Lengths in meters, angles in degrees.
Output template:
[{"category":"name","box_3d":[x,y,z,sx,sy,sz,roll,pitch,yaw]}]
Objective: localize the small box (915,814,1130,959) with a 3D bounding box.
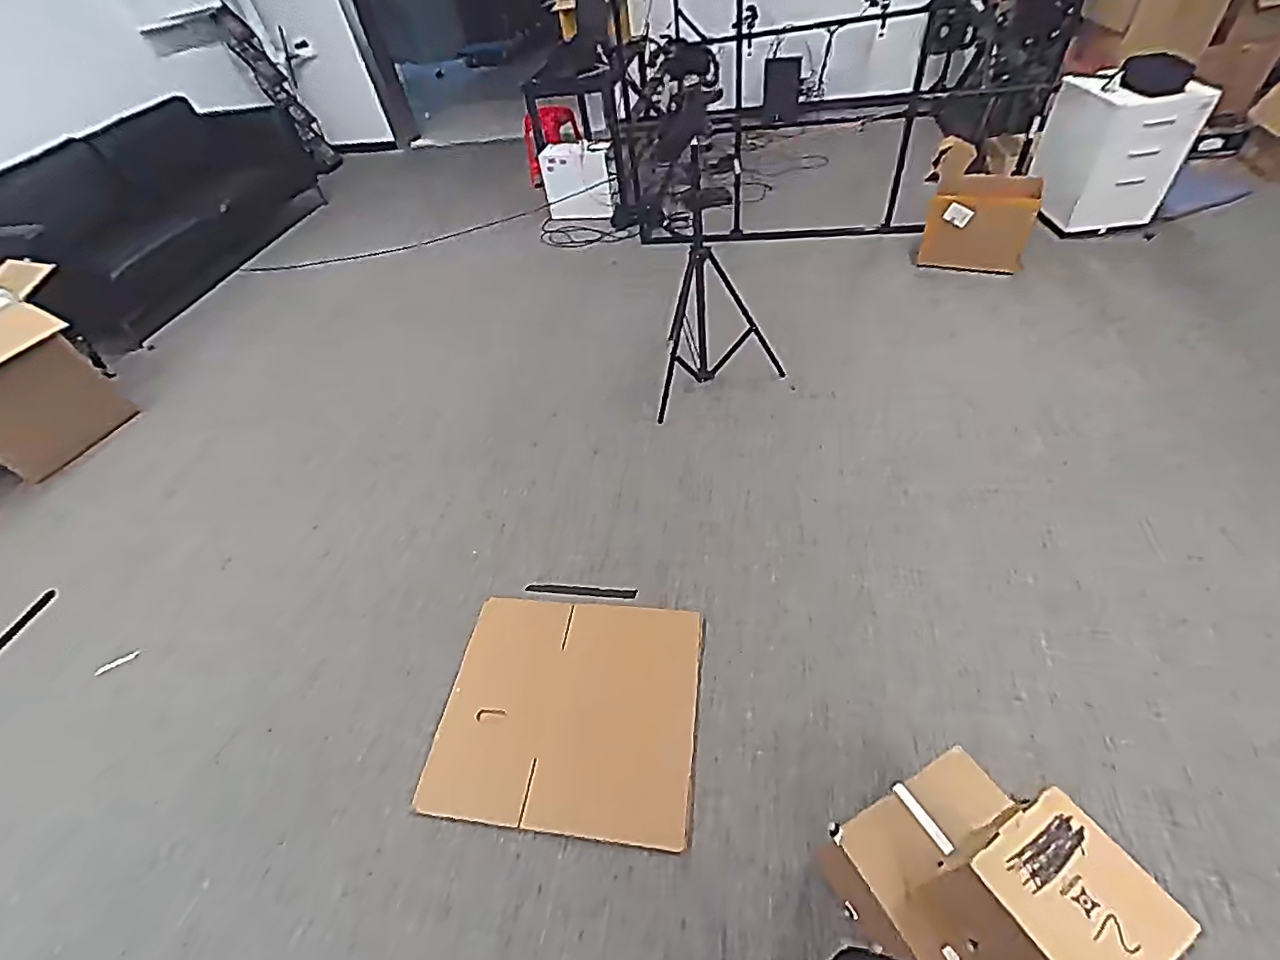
[{"category":"small box","box_3d":[0.553,0.649,0.813,0.168,0.176,0.179,-28,51,-15]}]
